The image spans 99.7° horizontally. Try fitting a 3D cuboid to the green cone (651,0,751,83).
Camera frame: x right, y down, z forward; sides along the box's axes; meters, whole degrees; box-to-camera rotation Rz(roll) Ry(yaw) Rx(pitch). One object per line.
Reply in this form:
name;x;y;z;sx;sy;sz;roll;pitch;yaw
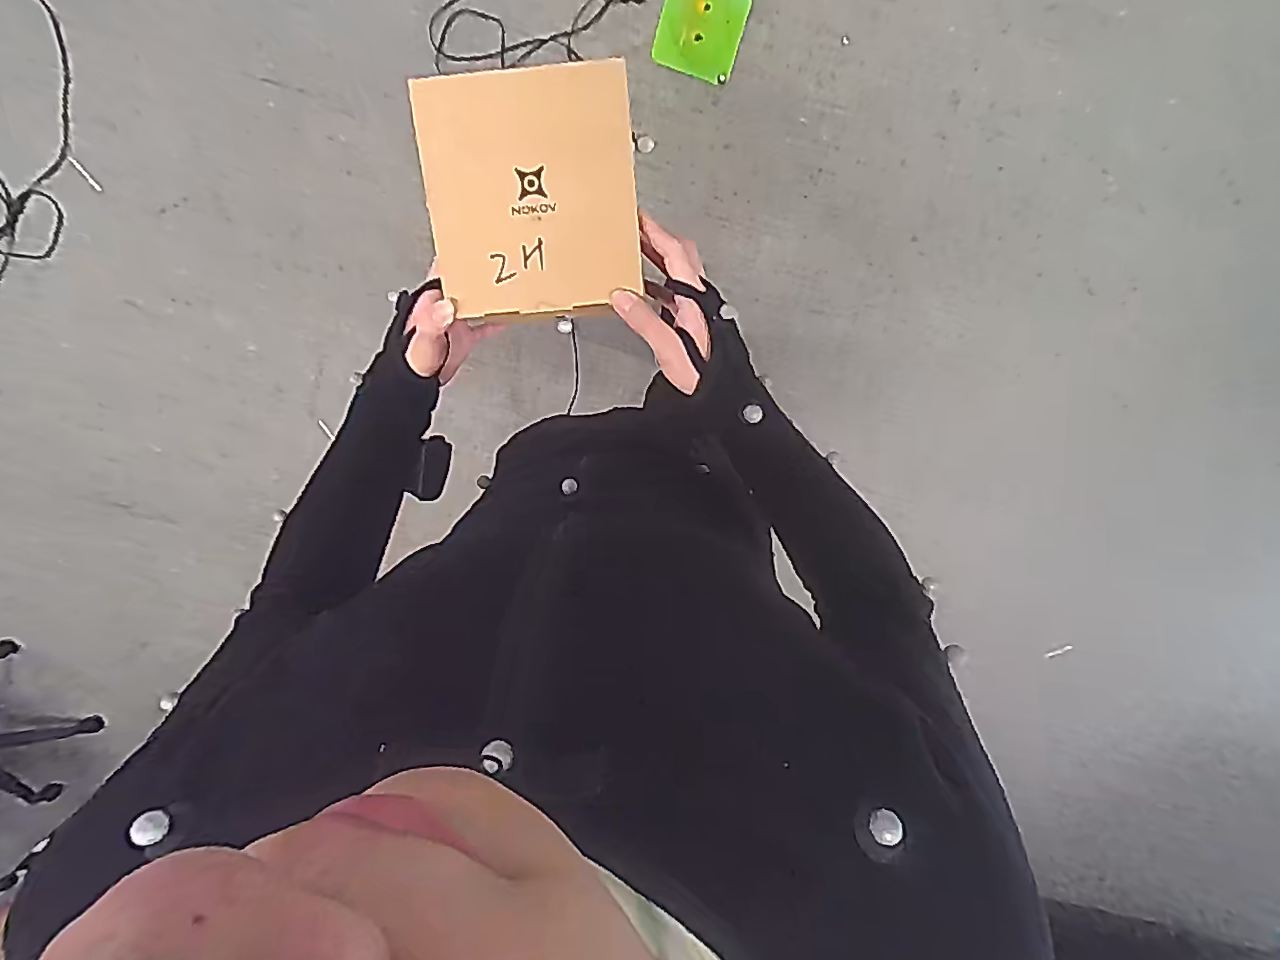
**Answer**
green cone;0.141;-1.030;1.113;0.202;0.368;0.200;16;105;-4
